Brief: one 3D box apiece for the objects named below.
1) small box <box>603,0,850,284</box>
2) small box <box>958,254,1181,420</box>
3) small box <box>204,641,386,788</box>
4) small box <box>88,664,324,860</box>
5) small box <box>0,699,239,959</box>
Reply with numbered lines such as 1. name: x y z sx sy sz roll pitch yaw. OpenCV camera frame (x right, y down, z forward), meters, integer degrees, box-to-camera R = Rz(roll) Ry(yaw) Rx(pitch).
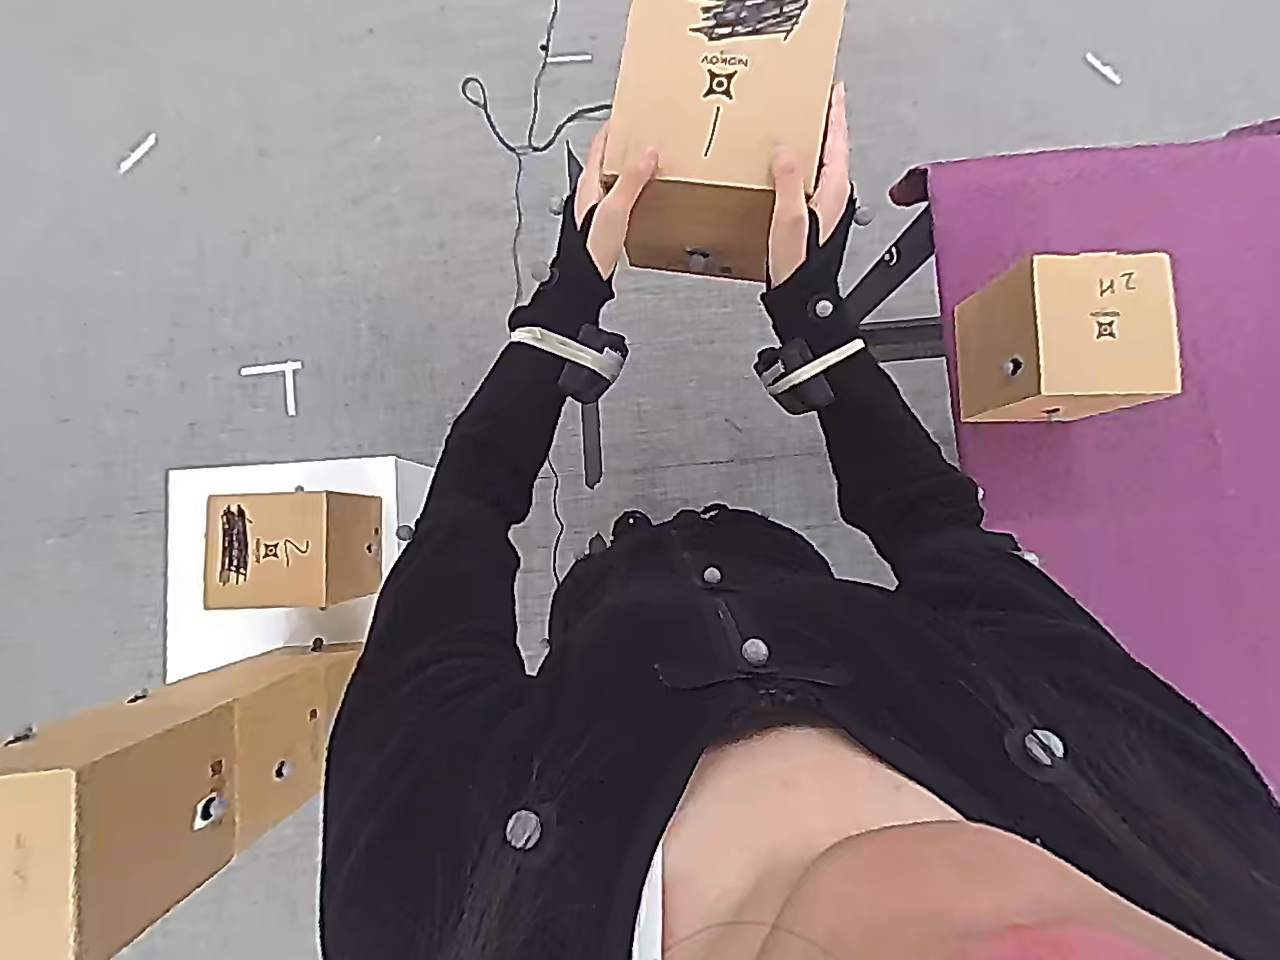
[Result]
1. small box: 0.074 -0.304 0.489 0.168 0.176 0.179 10 89 8
2. small box: 0.553 -0.177 0.721 0.168 0.176 0.179 0 85 0
3. small box: -0.512 0.346 0.819 0.179 0.176 0.168 -3 86 1
4. small box: -0.511 0.331 0.657 0.179 0.176 0.168 -5 85 1
5. small box: -0.515 0.315 0.495 0.179 0.176 0.168 -5 86 0
